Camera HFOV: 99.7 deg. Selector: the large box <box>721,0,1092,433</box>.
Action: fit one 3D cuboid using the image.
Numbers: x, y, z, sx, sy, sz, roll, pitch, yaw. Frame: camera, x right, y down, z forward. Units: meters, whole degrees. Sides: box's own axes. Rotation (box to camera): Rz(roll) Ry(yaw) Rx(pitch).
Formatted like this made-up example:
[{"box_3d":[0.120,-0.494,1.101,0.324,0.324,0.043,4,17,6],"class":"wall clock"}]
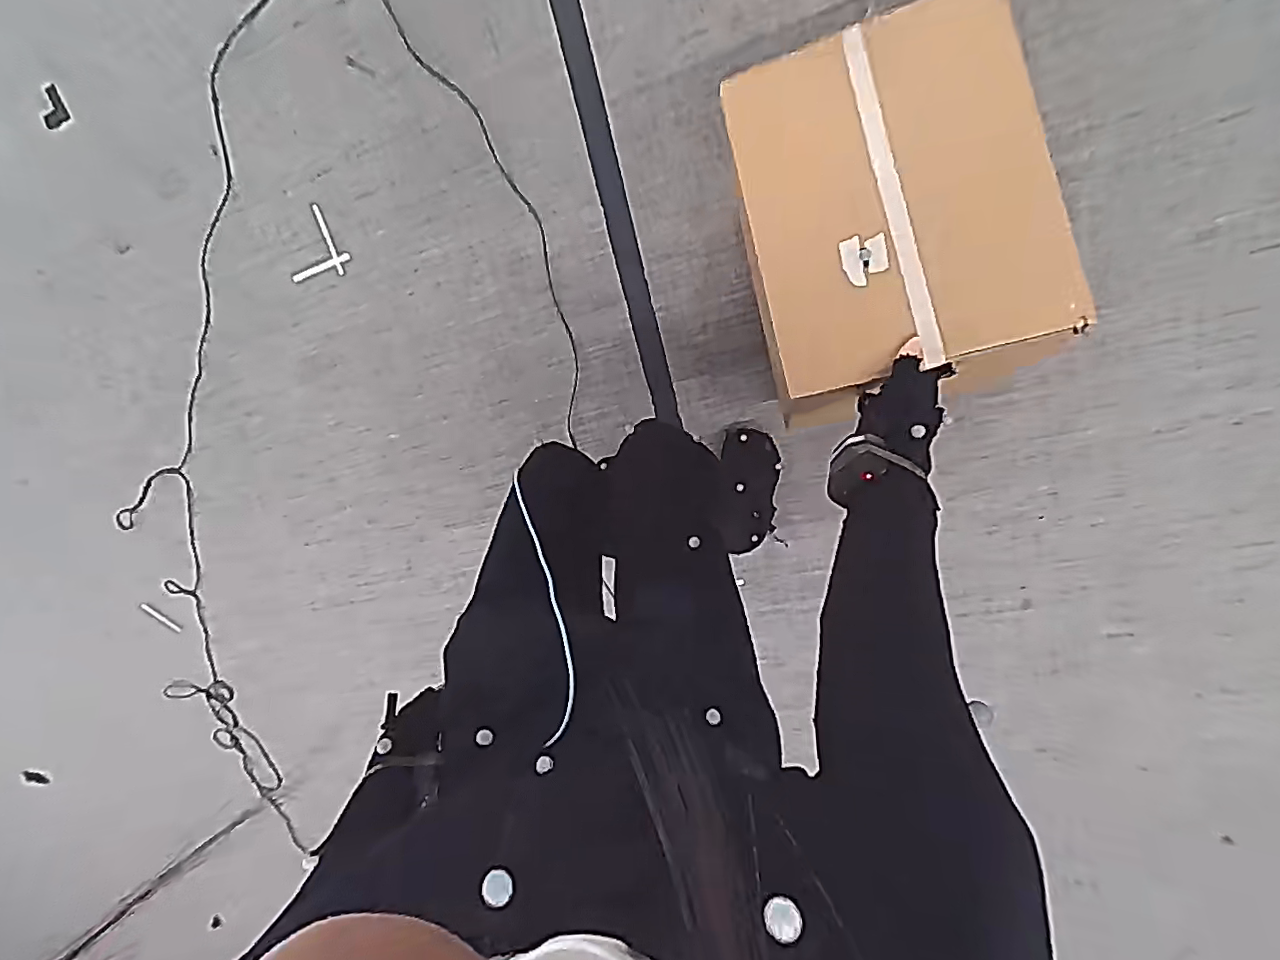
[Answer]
[{"box_3d":[0.325,-0.311,0.762,0.320,0.320,0.408,-13,83,16],"class":"large box"}]
